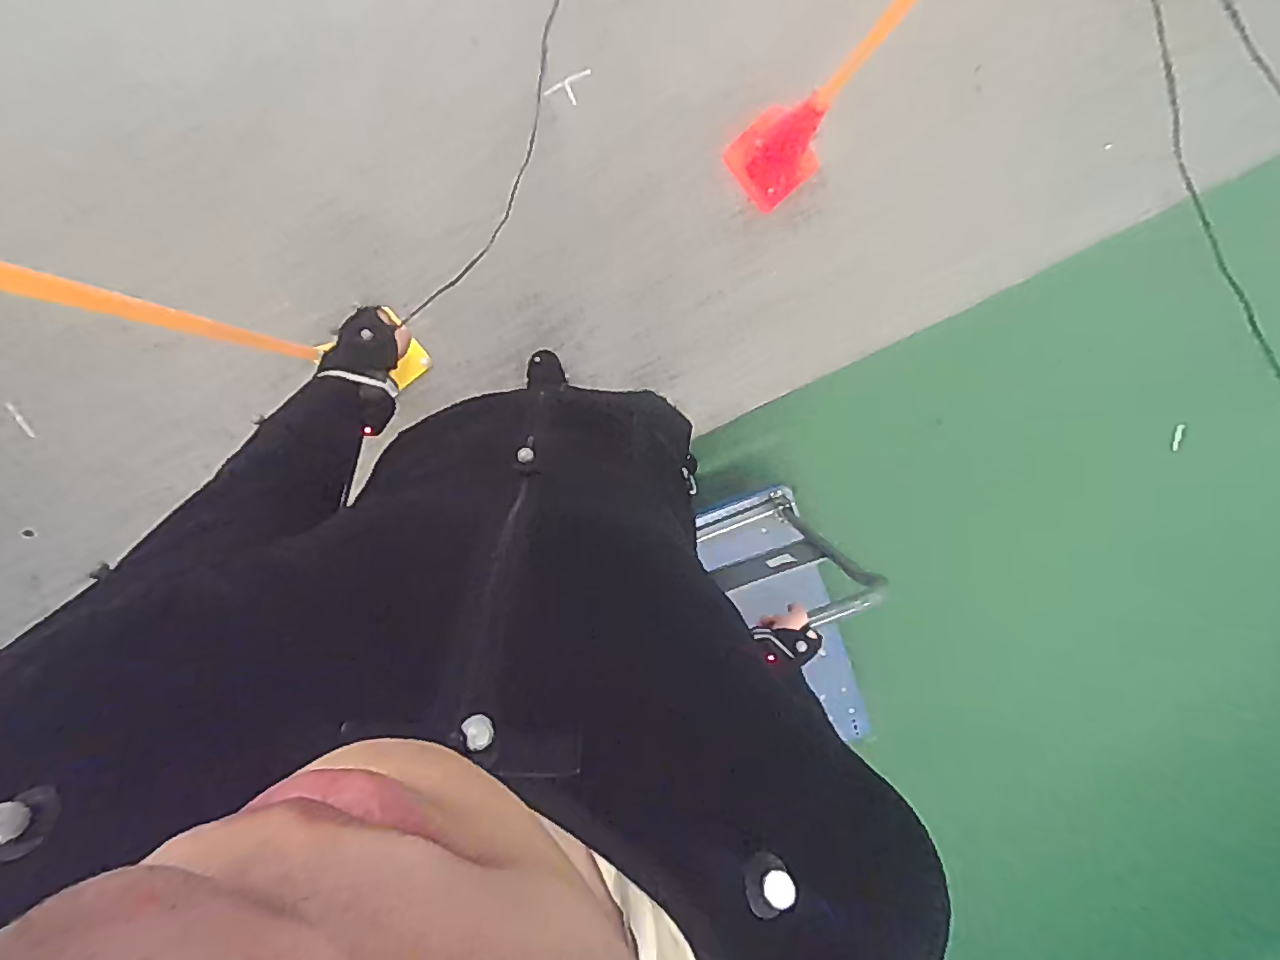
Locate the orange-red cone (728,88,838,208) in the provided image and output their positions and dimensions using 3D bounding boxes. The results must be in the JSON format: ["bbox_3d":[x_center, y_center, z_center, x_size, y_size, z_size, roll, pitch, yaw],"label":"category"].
[{"bbox_3d":[0.373,-0.825,1.276,0.199,0.360,0.198,-40,103,4],"label":"orange-red cone"}]
